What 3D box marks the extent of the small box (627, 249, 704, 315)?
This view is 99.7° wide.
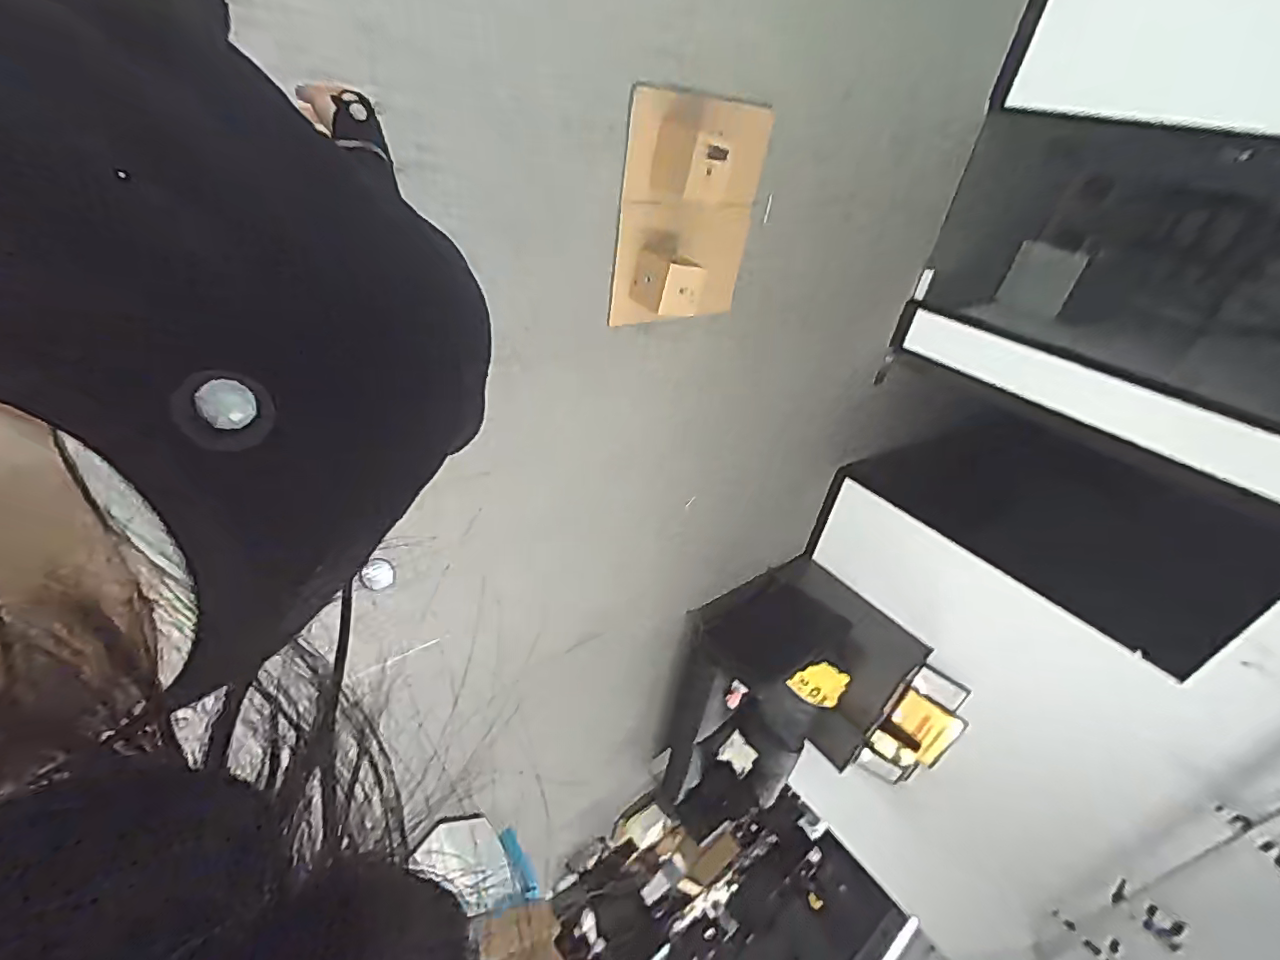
[{"bbox_3d":[0.081,-0.672,1.830,0.179,0.176,0.168,-12,131,-40],"label":"small box"}]
